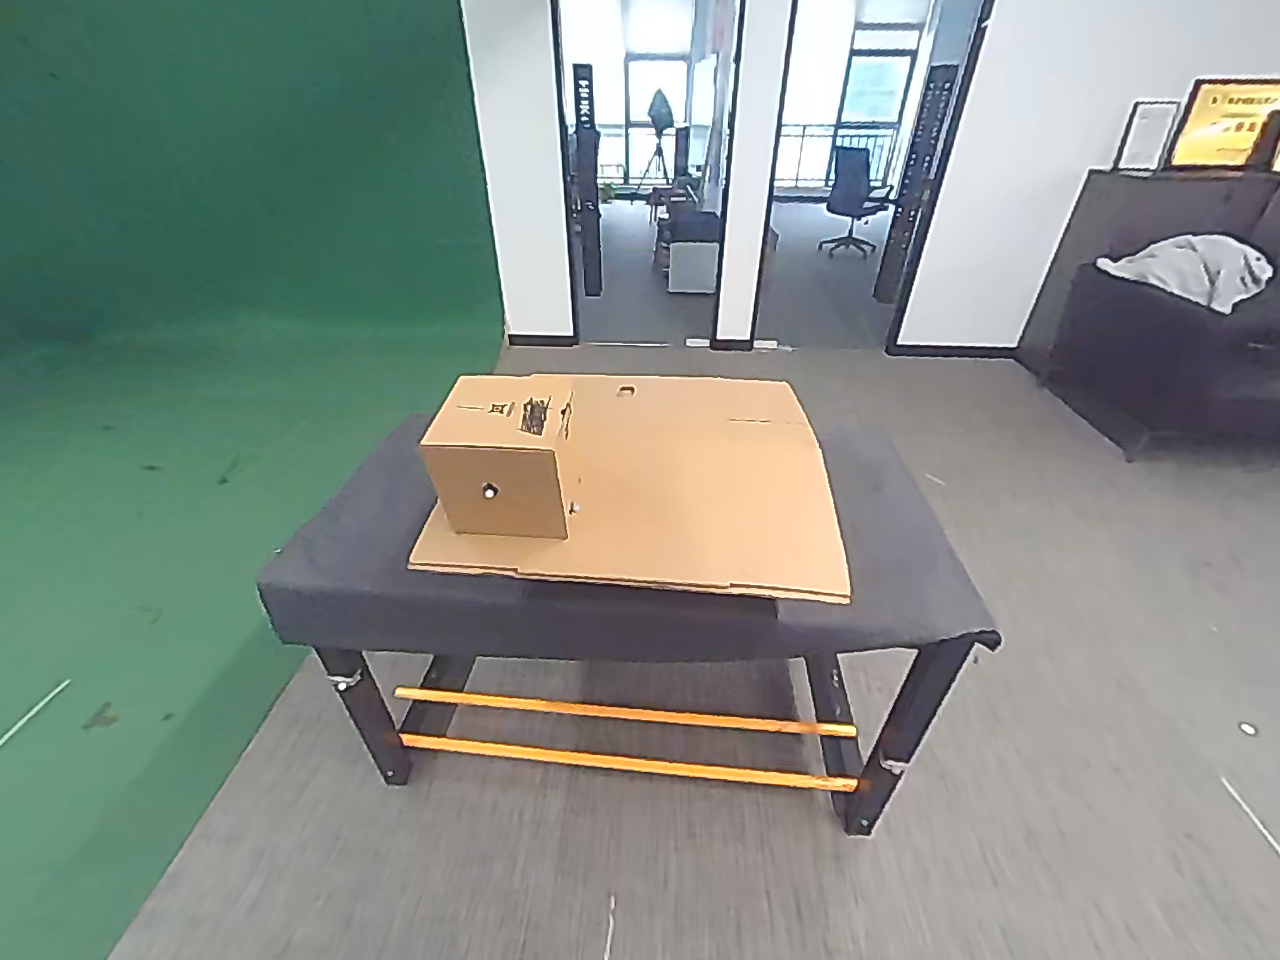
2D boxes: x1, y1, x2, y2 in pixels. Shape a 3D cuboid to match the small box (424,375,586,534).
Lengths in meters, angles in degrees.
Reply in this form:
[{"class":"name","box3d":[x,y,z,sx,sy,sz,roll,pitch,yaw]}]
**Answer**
[{"class":"small box","box3d":[-0.180,-0.036,0.791,0.179,0.176,0.168,2,43,5]}]
